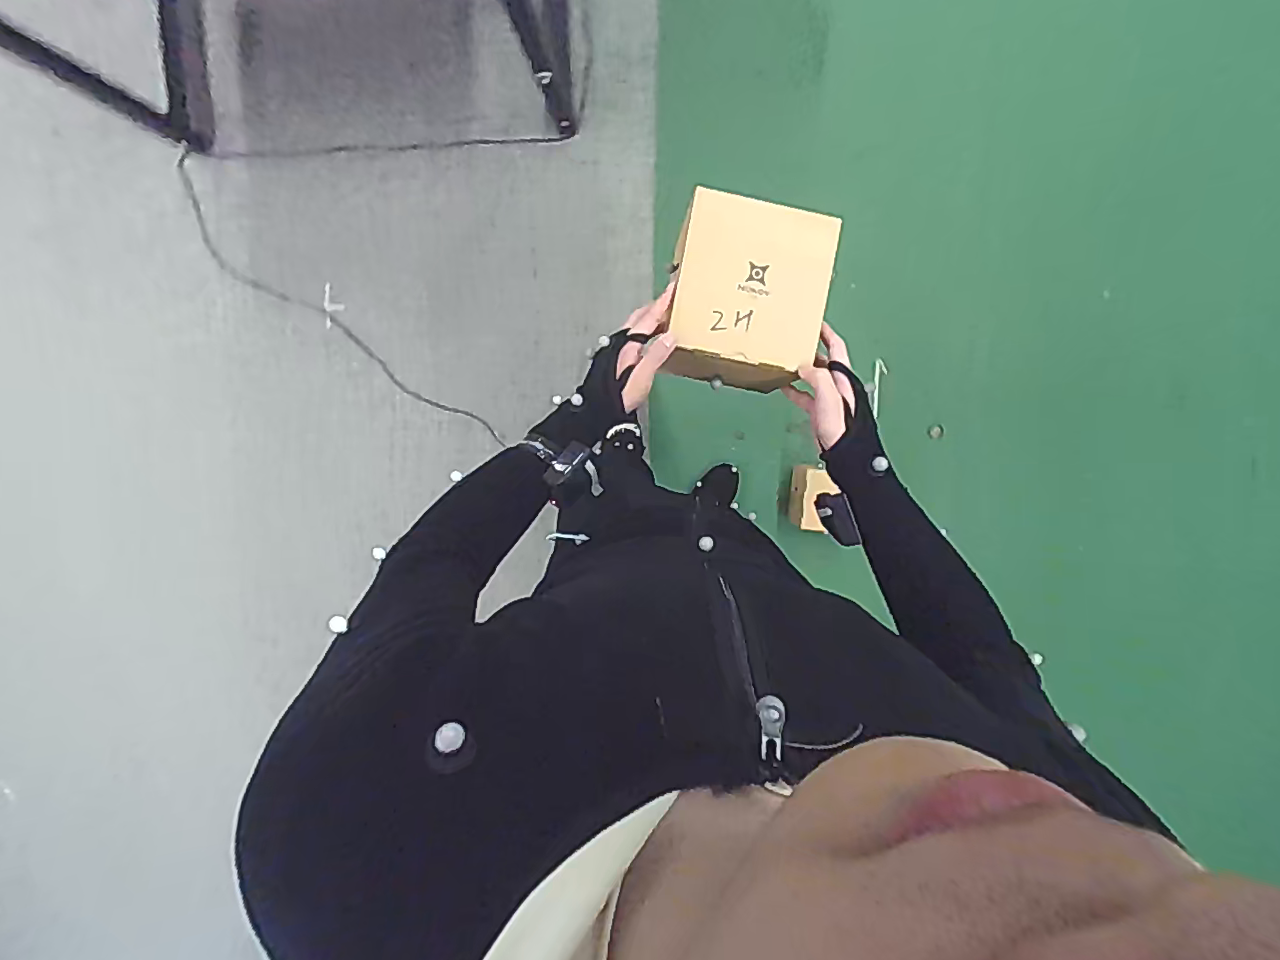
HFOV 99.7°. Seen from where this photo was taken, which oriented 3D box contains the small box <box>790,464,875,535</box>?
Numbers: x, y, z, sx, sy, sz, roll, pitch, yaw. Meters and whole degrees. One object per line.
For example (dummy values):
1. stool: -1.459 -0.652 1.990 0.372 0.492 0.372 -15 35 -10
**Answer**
1. small box: 0.532 0.049 1.514 0.179 0.176 0.168 5 97 5
